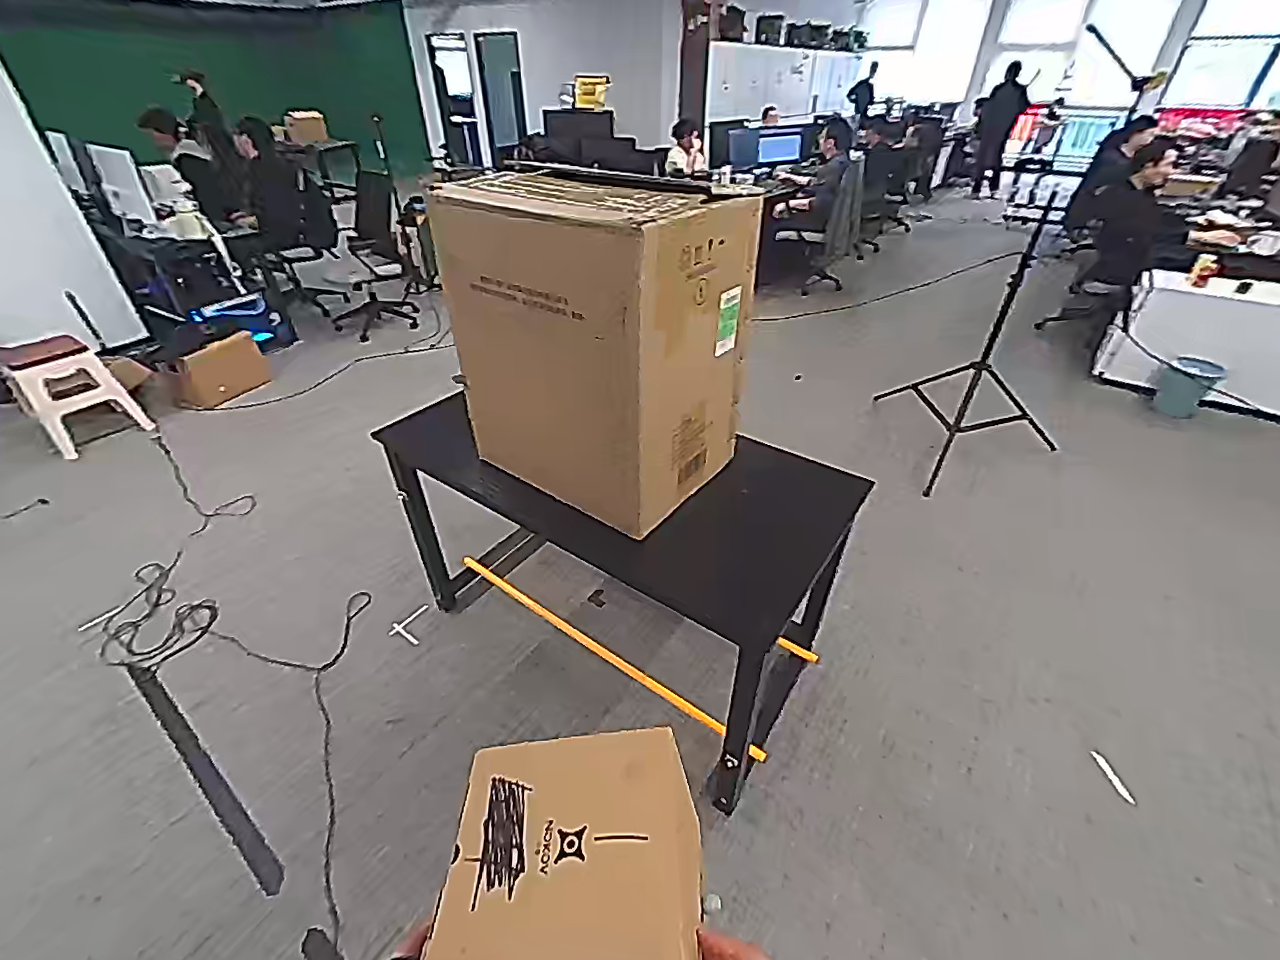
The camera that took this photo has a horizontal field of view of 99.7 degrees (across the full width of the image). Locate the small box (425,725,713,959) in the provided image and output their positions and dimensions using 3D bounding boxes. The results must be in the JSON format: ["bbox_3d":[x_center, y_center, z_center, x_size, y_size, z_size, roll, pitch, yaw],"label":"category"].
[{"bbox_3d":[-0.040,0.331,0.440,0.179,0.176,0.168,-9,33,6],"label":"small box"}]
